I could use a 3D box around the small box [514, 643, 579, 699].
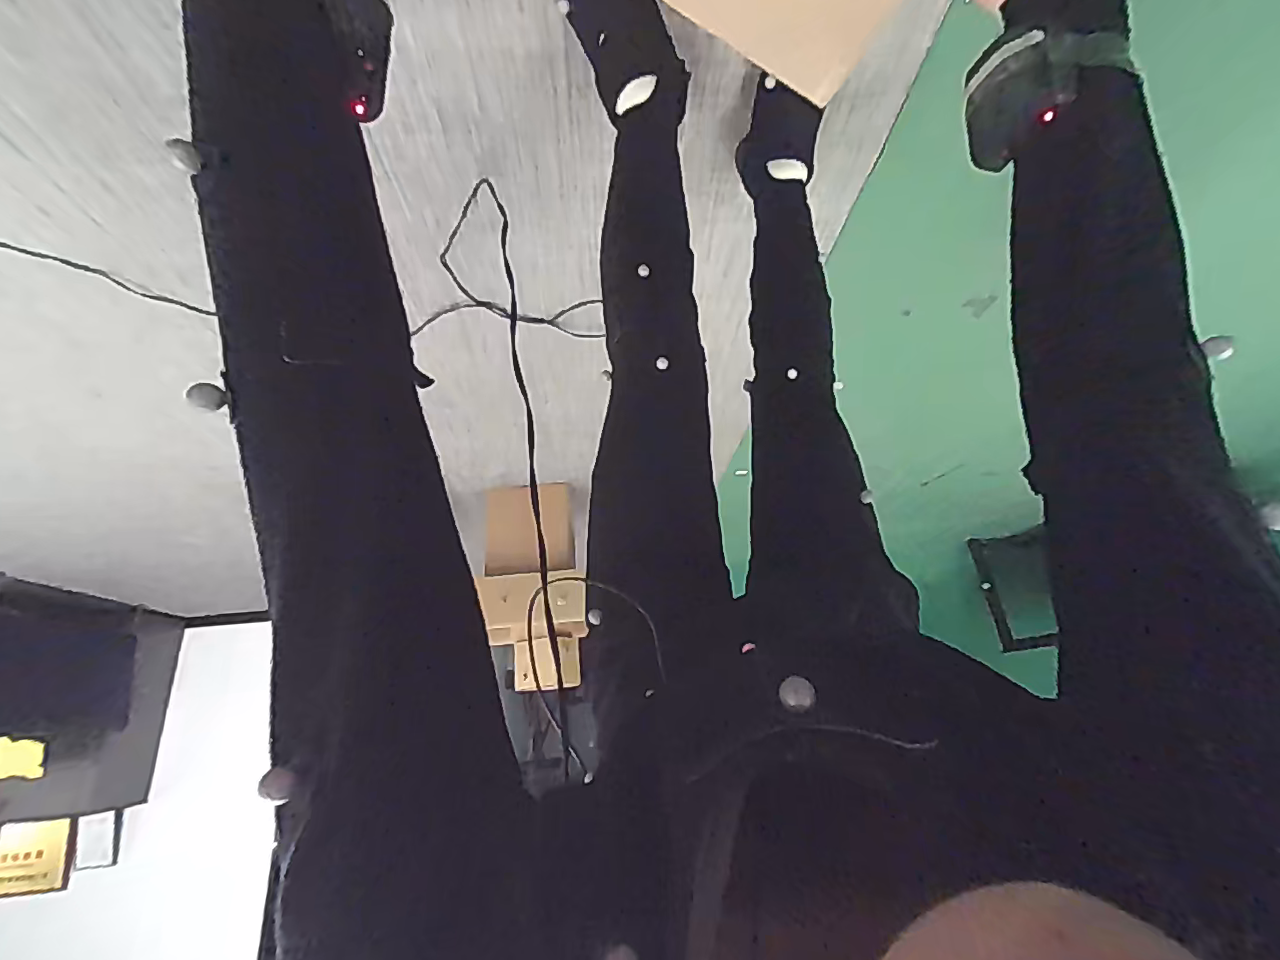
[{"bbox_3d":[-0.338,0.691,1.955,0.179,0.176,0.168,-17,155,22],"label":"small box"}]
